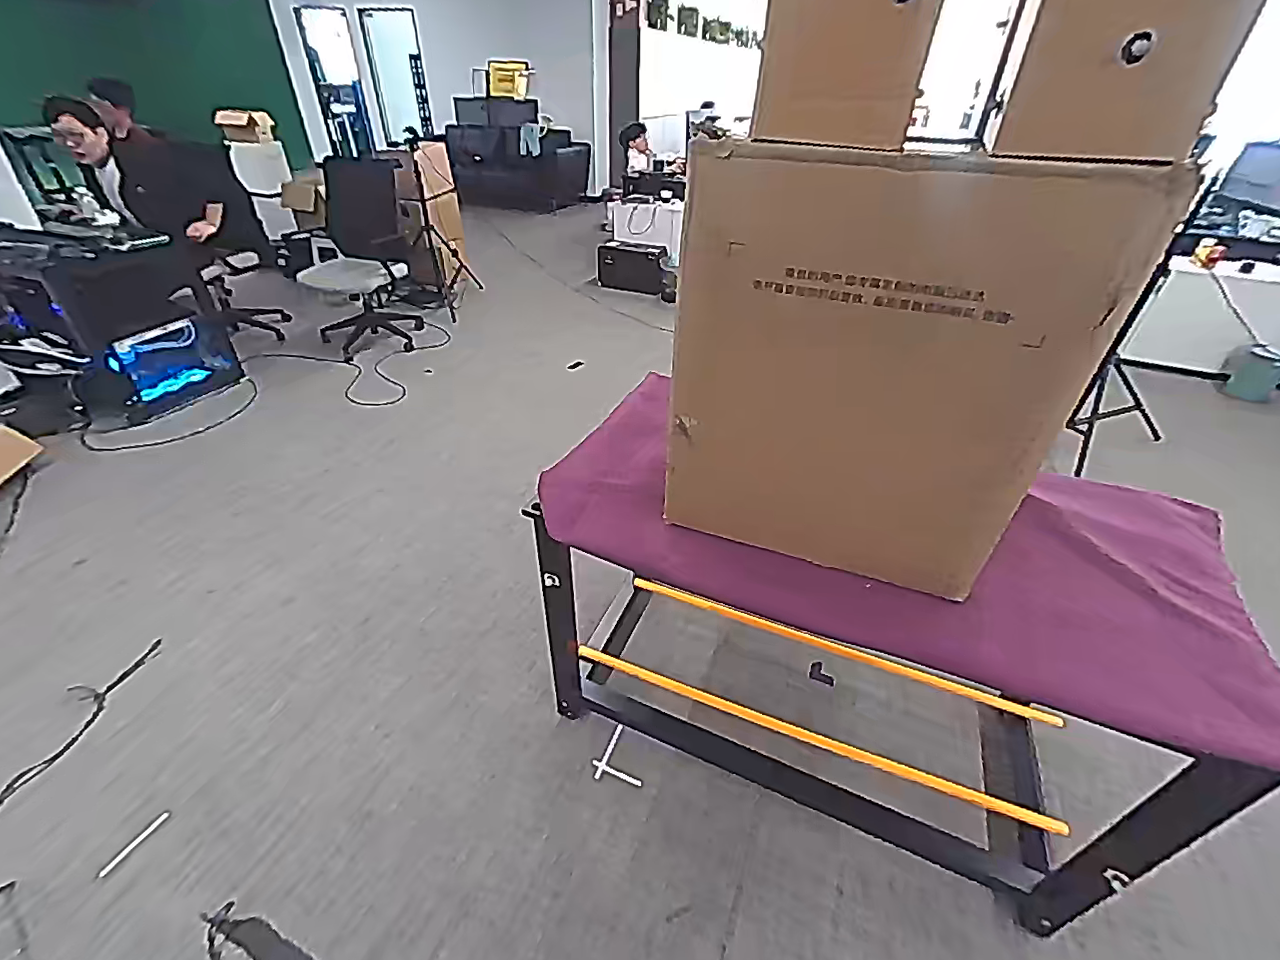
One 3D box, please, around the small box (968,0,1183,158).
[{"bbox_3d":[0.556,-0.539,0.720,0.168,0.176,0.179,15,39,19],"label":"small box"}]
